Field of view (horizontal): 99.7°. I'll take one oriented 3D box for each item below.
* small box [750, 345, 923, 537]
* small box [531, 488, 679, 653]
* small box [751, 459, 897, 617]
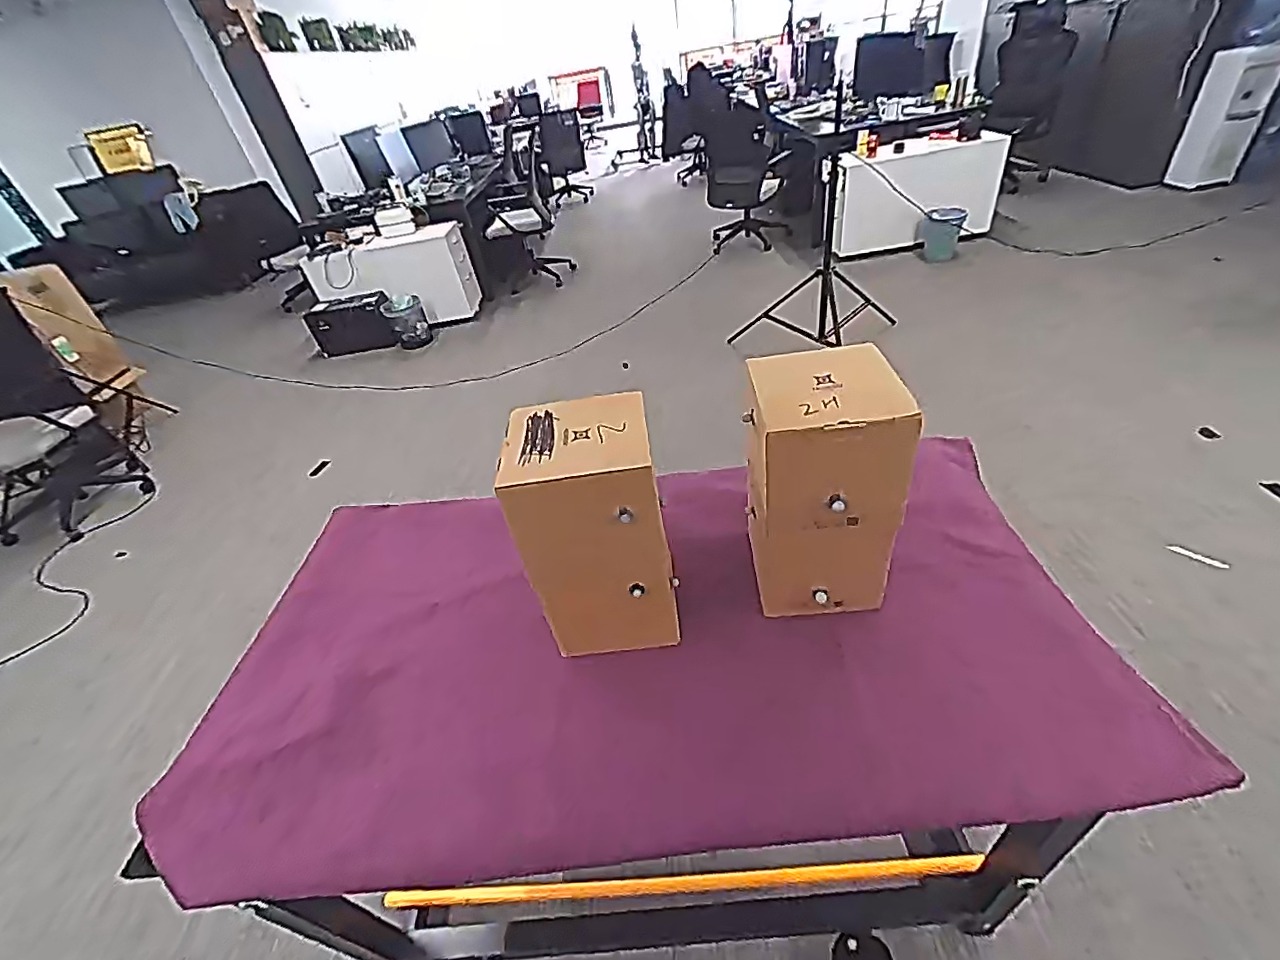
[{"bbox_3d":[0.232,-0.050,0.689,0.168,0.176,0.179,-6,39,7],"label":"small box"},{"bbox_3d":[-0.044,0.135,0.794,0.179,0.176,0.168,-8,38,3],"label":"small box"},{"bbox_3d":[0.254,0.077,0.793,0.168,0.176,0.179,-6,39,7],"label":"small box"}]
